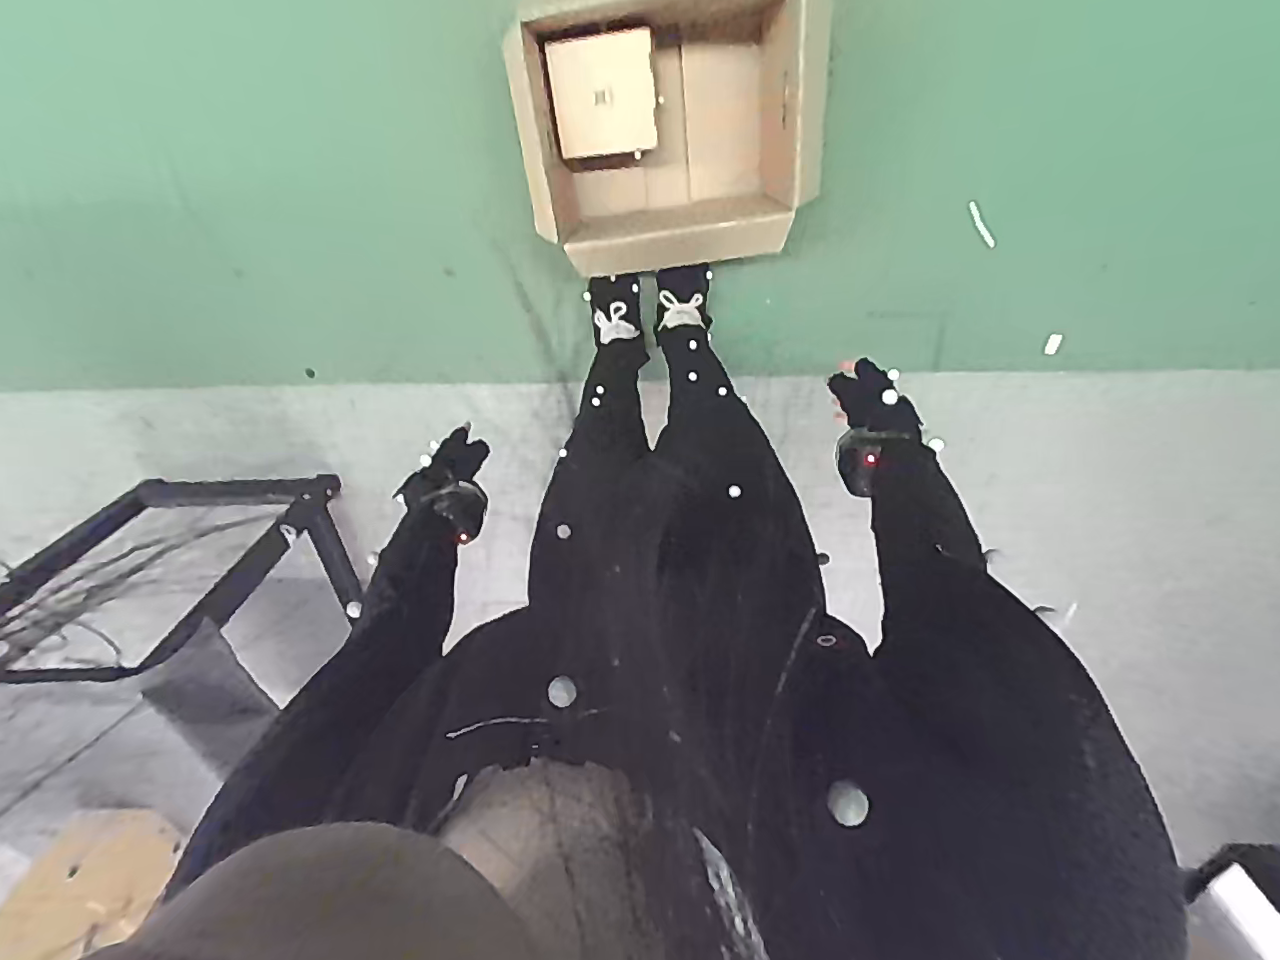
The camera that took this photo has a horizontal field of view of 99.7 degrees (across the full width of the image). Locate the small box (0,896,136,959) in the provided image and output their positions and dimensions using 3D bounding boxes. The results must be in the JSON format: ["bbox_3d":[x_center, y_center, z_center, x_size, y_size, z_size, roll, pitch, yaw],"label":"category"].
[{"bbox_3d":[-1.138,0.917,1.024,0.179,0.176,0.168,-4,124,3],"label":"small box"}]

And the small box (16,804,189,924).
[{"bbox_3d":[-1.121,0.816,1.153,0.179,0.176,0.168,-2,123,3],"label":"small box"}]
